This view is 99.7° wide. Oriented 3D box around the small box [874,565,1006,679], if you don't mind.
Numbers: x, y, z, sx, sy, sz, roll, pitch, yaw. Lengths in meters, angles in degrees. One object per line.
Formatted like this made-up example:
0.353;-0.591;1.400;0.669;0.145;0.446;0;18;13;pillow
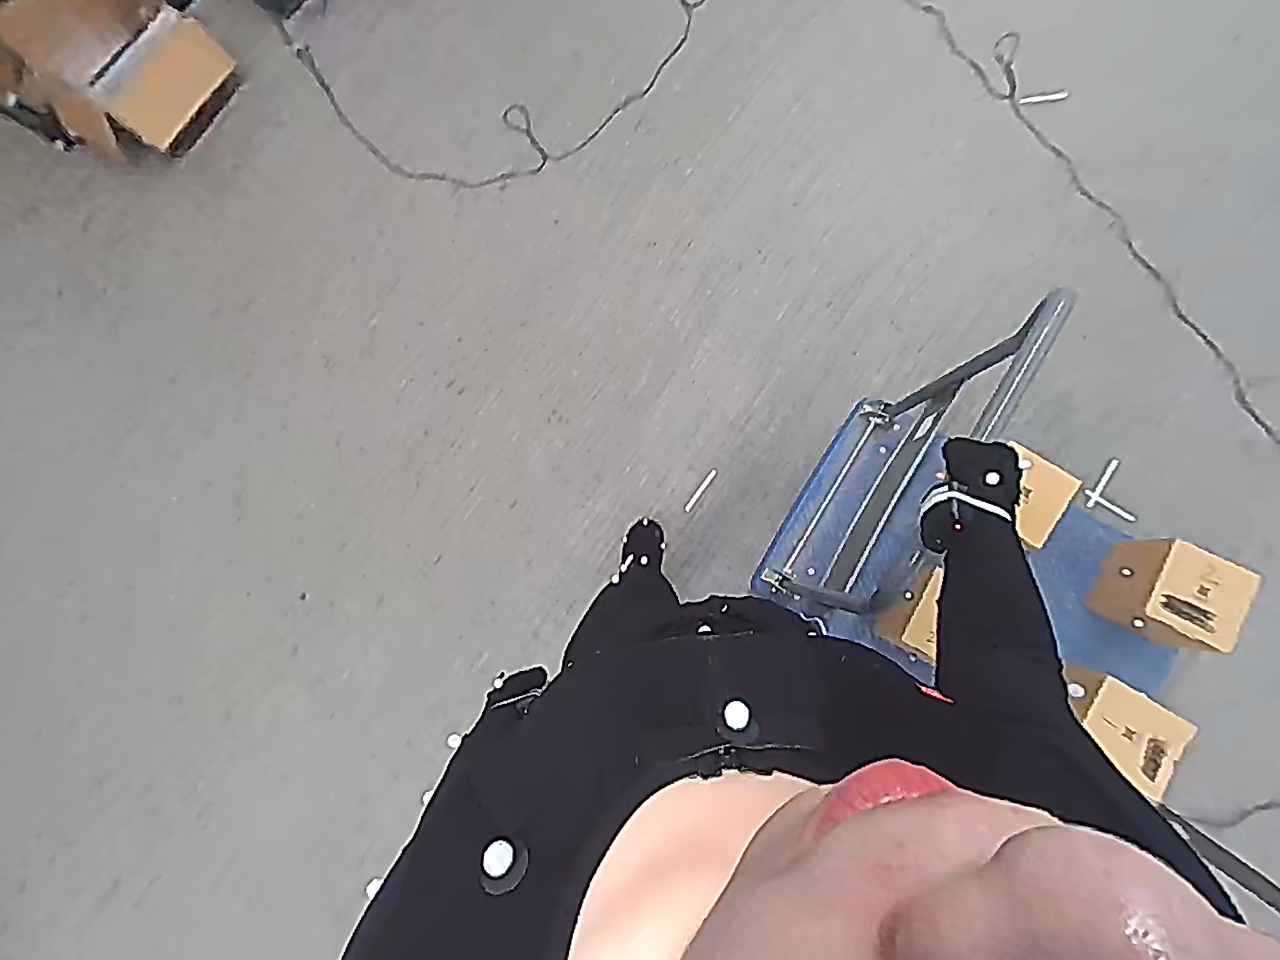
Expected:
0.645;0.303;1.186;0.168;0.176;0.179;29;83;8;small box

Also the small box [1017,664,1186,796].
0.951;0.507;1.131;0.179;0.176;0.168;32;84;9;small box

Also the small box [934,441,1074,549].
0.807;0.041;1.222;0.168;0.176;0.179;34;86;8;small box
